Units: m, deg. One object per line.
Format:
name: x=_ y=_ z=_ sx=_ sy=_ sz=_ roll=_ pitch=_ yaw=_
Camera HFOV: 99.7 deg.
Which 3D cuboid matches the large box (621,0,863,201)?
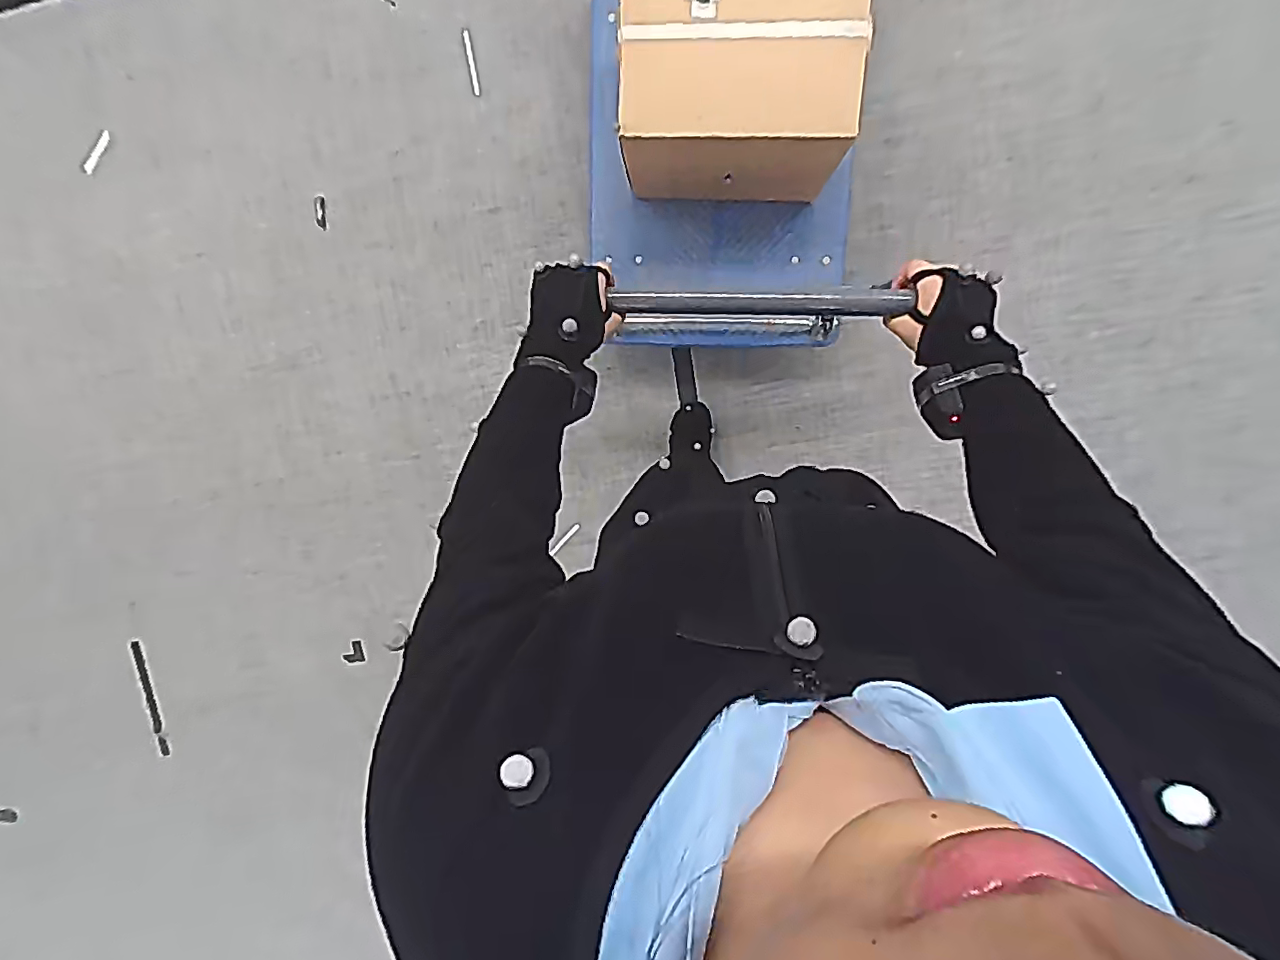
large box: x=0.183 y=-0.757 z=1.052 sx=0.408 sy=0.320 sz=0.320 roll=2 pitch=98 yaw=5
